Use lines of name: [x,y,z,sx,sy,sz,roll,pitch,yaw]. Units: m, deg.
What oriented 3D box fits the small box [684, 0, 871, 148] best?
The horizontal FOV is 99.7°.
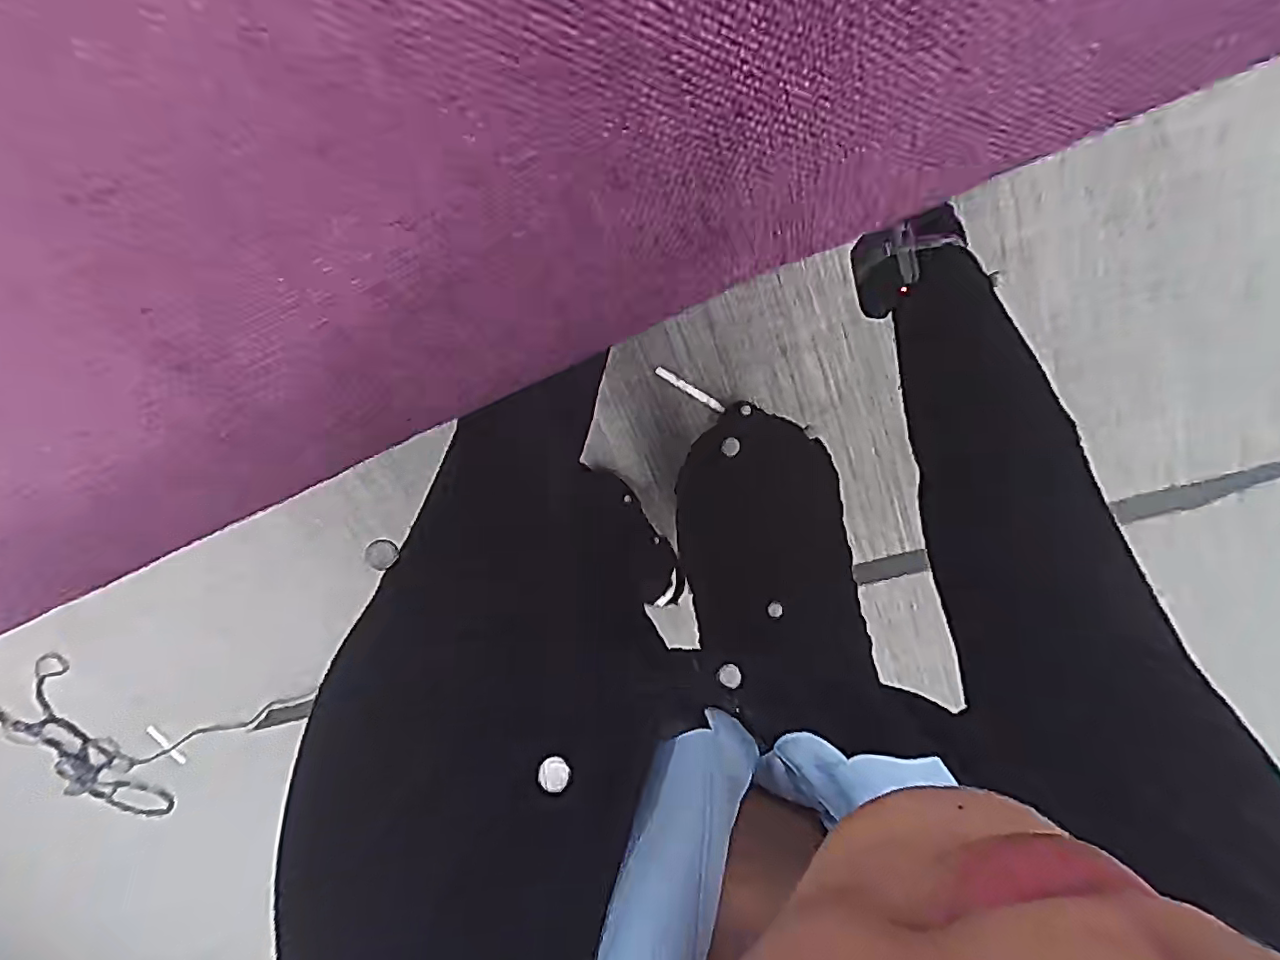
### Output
small box: [0.142,-0.486,0.593,0.168,0.176,0.179,-11,113,12]
